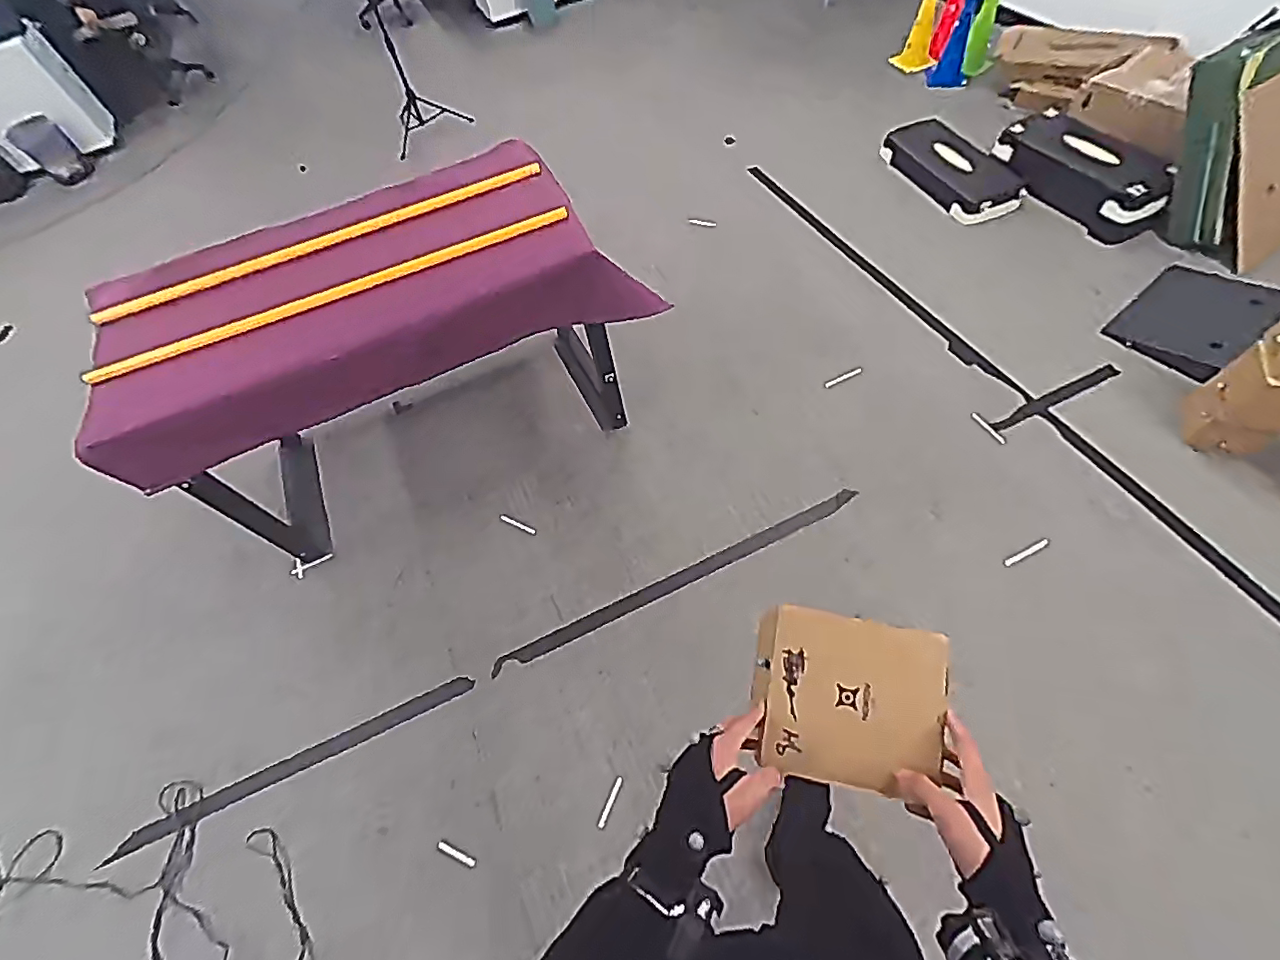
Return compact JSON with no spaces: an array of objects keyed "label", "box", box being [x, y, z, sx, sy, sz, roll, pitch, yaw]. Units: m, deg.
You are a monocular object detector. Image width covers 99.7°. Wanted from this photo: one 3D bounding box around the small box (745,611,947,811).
[{"label":"small box","box":[0.228,0.254,0.635,0.179,0.176,0.168,10,76,9]}]
